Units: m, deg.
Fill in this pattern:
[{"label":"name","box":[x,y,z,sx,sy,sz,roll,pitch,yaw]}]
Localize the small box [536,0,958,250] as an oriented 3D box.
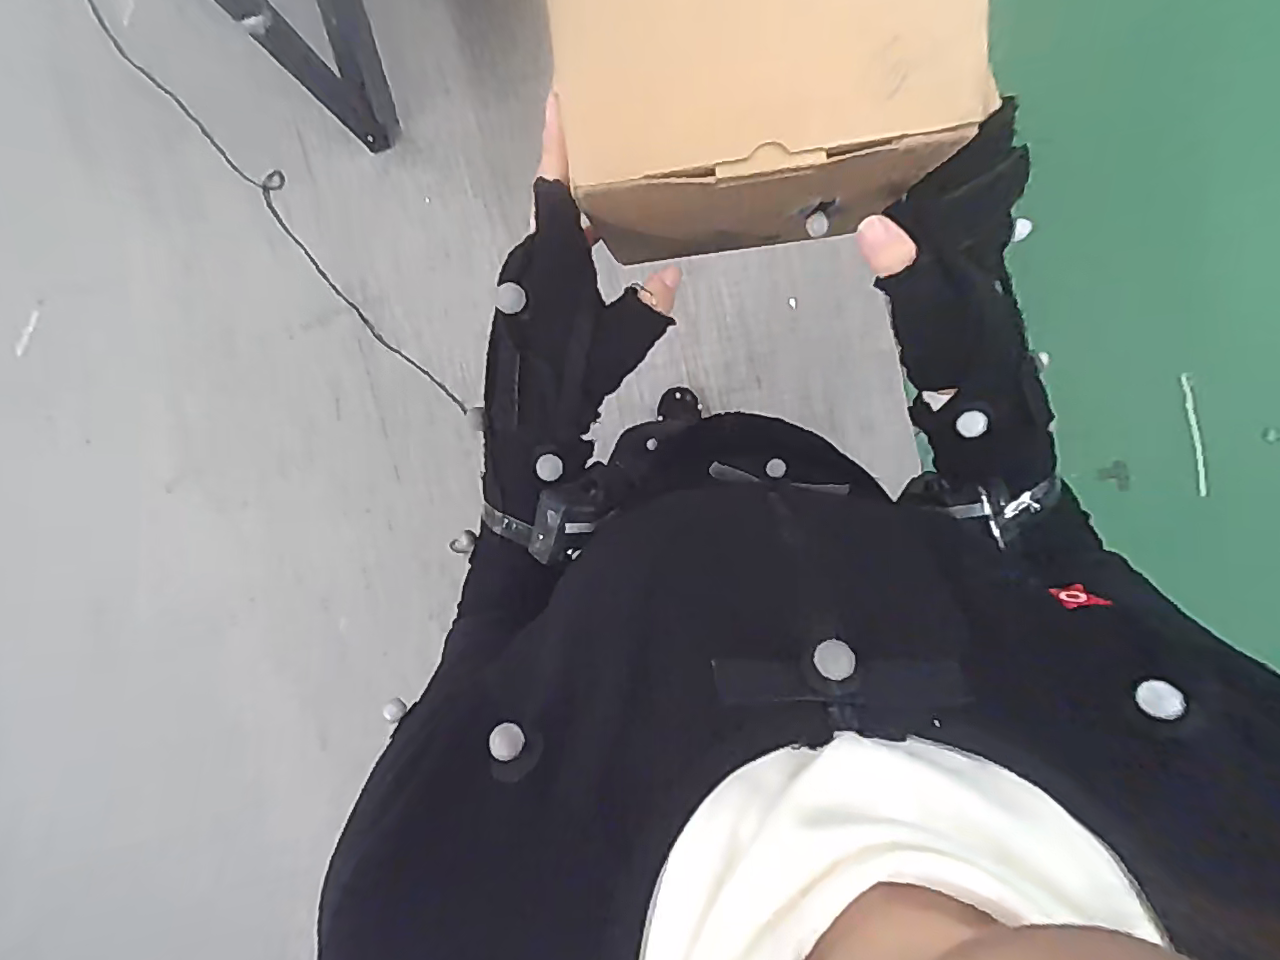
[{"label":"small box","box":[0.044,-0.232,0.286,0.168,0.176,0.179,-5,101,5]}]
